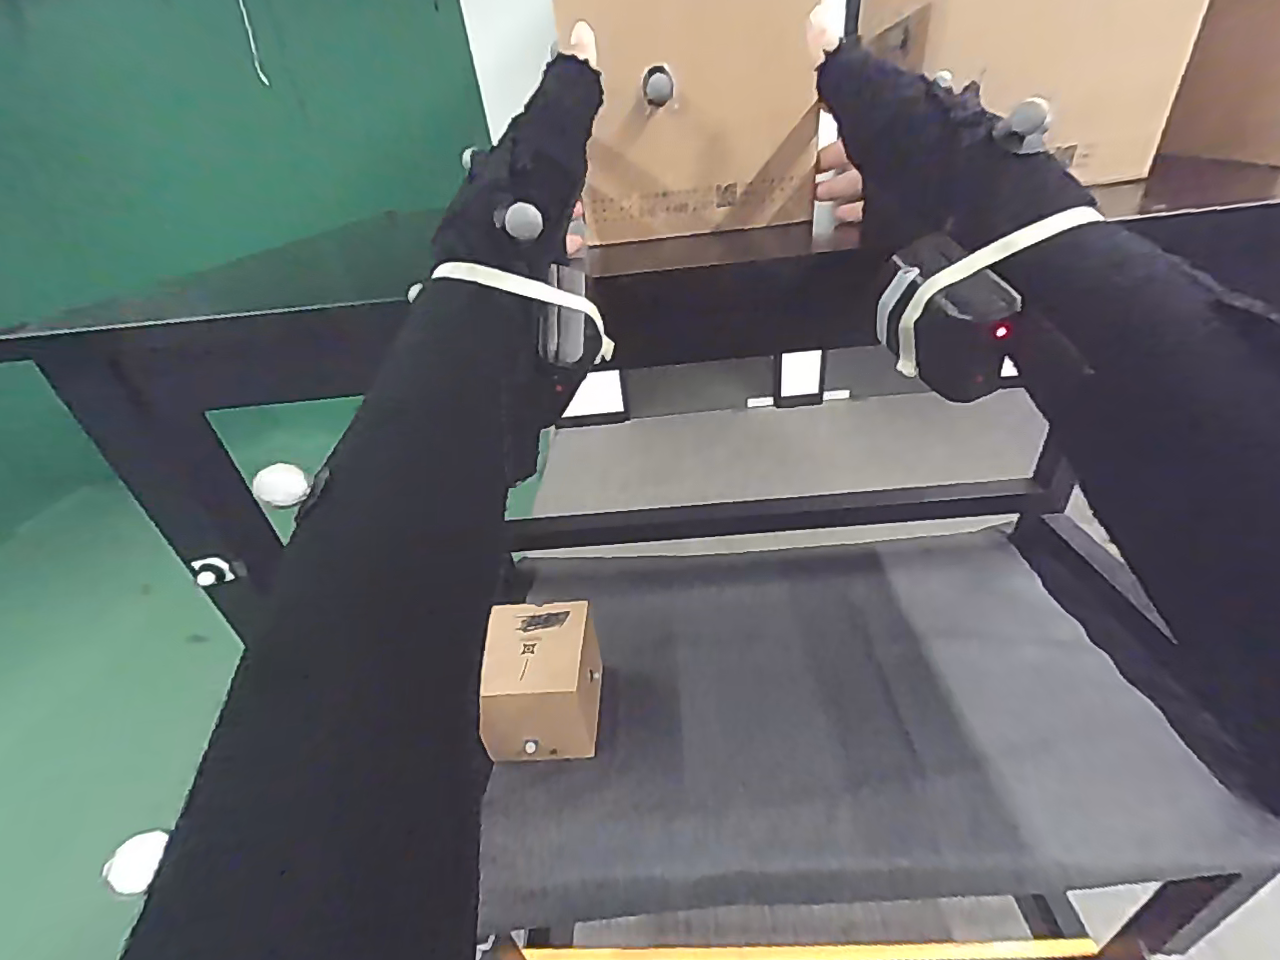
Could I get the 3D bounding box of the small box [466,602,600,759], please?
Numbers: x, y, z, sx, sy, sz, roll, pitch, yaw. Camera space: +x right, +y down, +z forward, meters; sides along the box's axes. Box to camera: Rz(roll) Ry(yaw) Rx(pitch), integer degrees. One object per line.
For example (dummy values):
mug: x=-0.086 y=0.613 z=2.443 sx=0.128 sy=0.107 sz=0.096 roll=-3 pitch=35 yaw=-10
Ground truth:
small box: x=-0.160 y=0.322 z=0.876 sx=0.168 sy=0.176 sz=0.179 roll=-4 pitch=33 yaw=4

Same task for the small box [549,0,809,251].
small box: x=0.035 y=-0.288 z=0.433 sx=0.168 sy=0.176 sz=0.179 roll=-5 pitch=32 yaw=4
